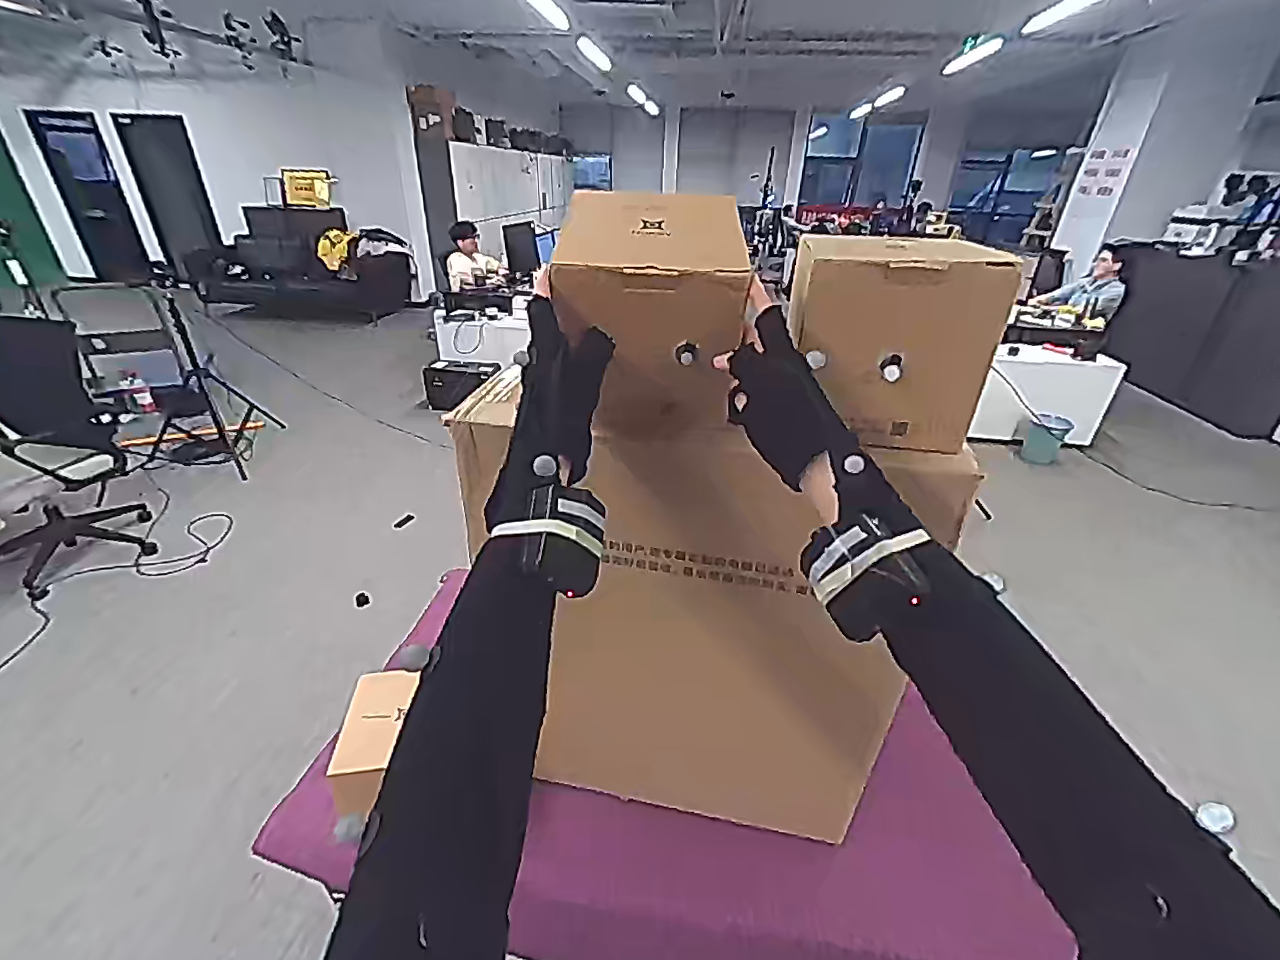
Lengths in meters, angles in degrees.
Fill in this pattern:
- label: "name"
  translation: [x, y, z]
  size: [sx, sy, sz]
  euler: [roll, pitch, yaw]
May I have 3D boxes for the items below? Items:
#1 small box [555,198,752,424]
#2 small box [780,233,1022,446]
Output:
- label: "small box"
  translation: [0.011, -0.172, 0.555]
  size: [0.168, 0.176, 0.179]
  euler: [2, 43, -1]
- label: "small box"
  translation: [0.240, -0.148, 0.551]
  size: [0.168, 0.176, 0.179]
  euler: [7, 31, 8]
